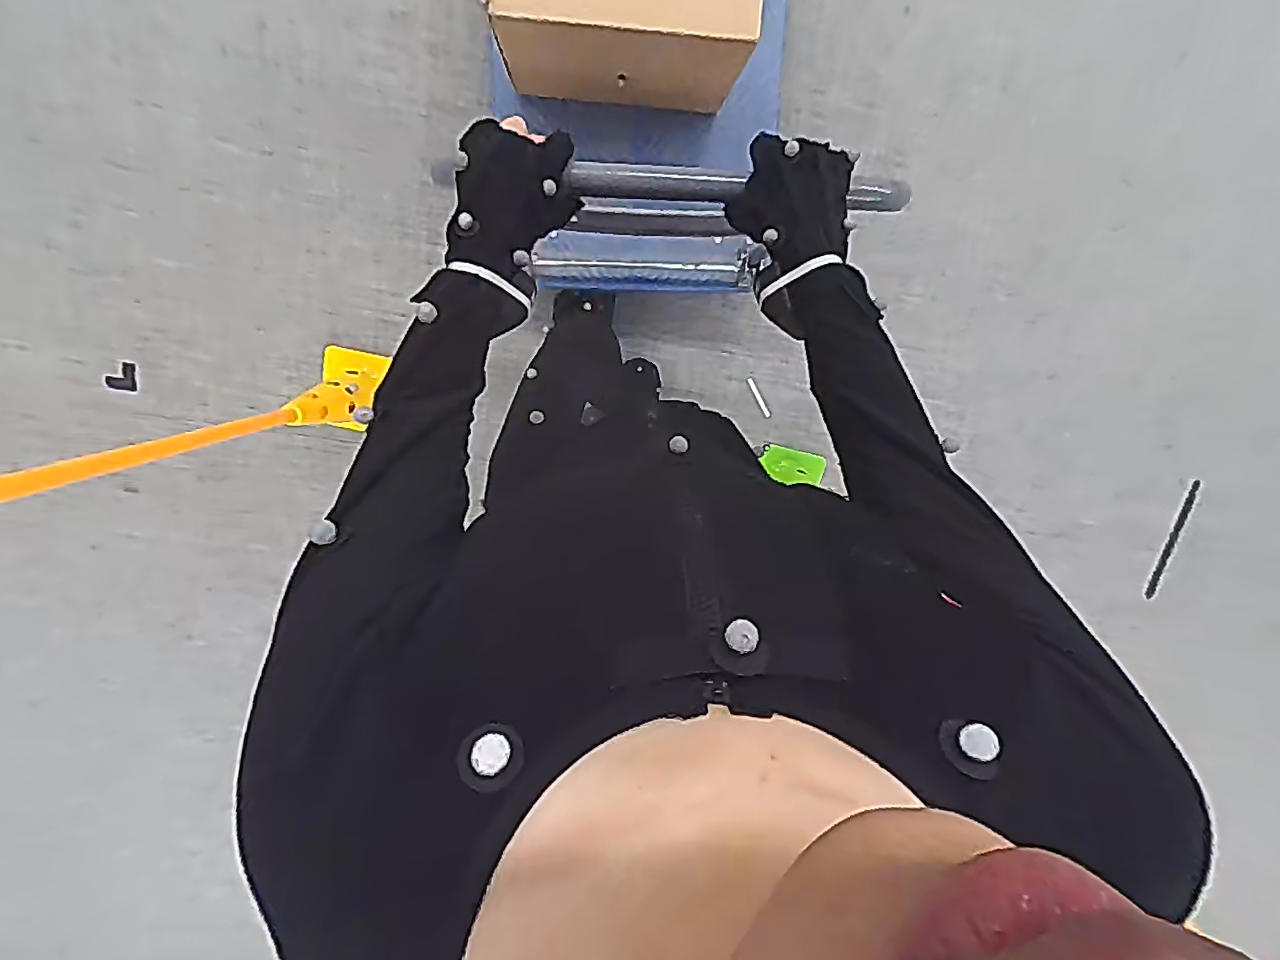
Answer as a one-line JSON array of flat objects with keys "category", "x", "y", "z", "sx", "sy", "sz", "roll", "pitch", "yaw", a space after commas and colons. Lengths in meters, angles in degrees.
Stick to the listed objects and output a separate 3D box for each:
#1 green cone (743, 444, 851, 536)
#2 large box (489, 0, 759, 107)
[{"category": "green cone", "x": 0.418, "y": 0.058, "z": 1.349, "sx": 0.202, "sy": 0.368, "sz": 0.200, "roll": 12, "pitch": 105, "yaw": -9}, {"category": "large box", "x": -0.023, "y": -0.859, "z": 0.901, "sx": 0.408, "sy": 0.320, "sz": 0.320, "roll": 2, "pitch": 107, "yaw": -4}]
